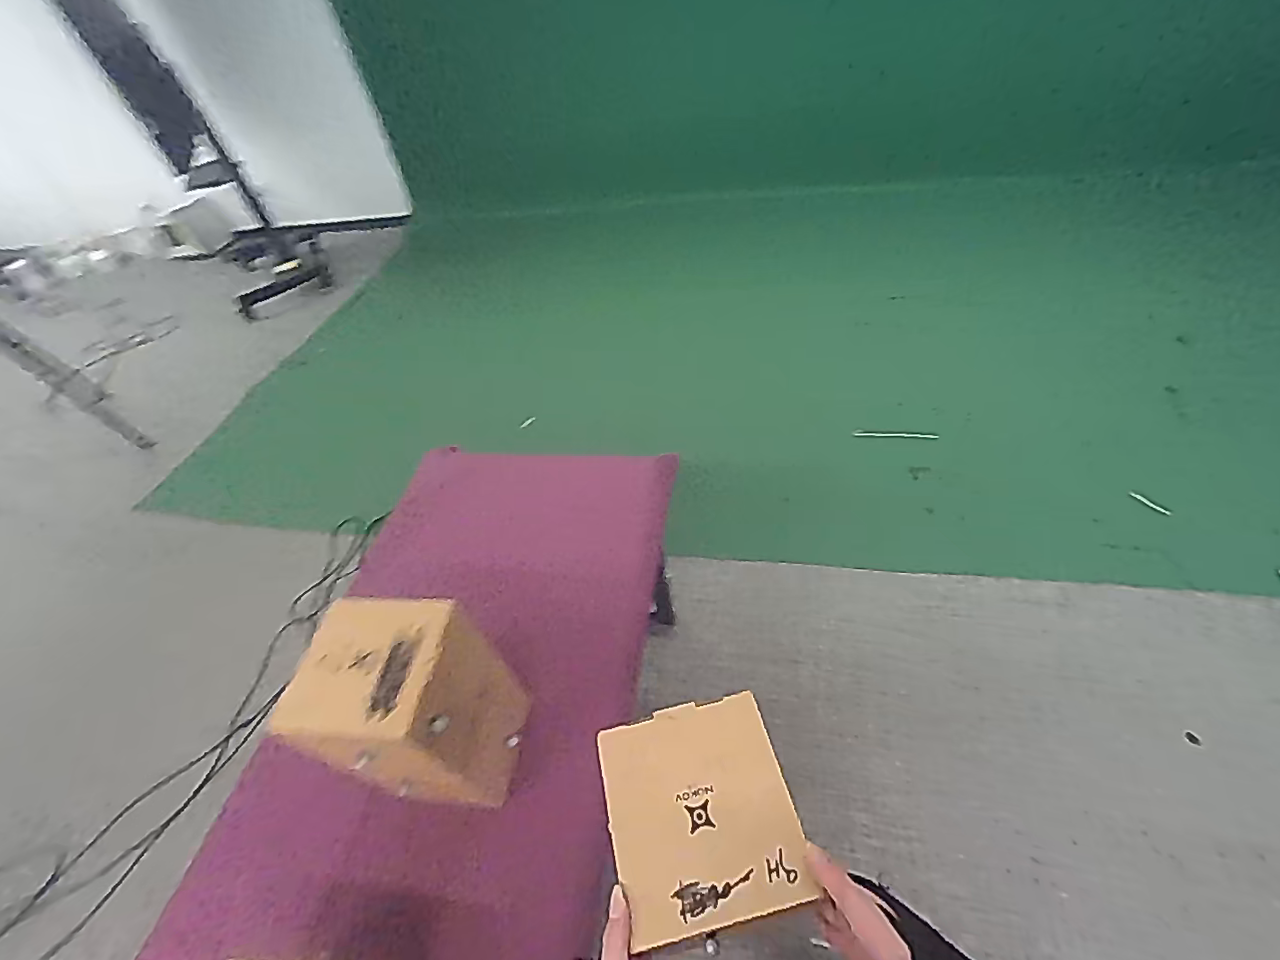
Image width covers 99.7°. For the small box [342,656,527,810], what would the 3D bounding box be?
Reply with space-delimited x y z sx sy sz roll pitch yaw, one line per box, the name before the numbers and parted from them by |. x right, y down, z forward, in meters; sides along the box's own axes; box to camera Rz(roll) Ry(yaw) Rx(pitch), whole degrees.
small box | -0.294 0.383 0.817 0.179 0.176 0.168 0 48 11

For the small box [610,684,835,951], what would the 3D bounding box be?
small box | 0.074 0.339 0.544 0.168 0.176 0.179 -14 46 -1
